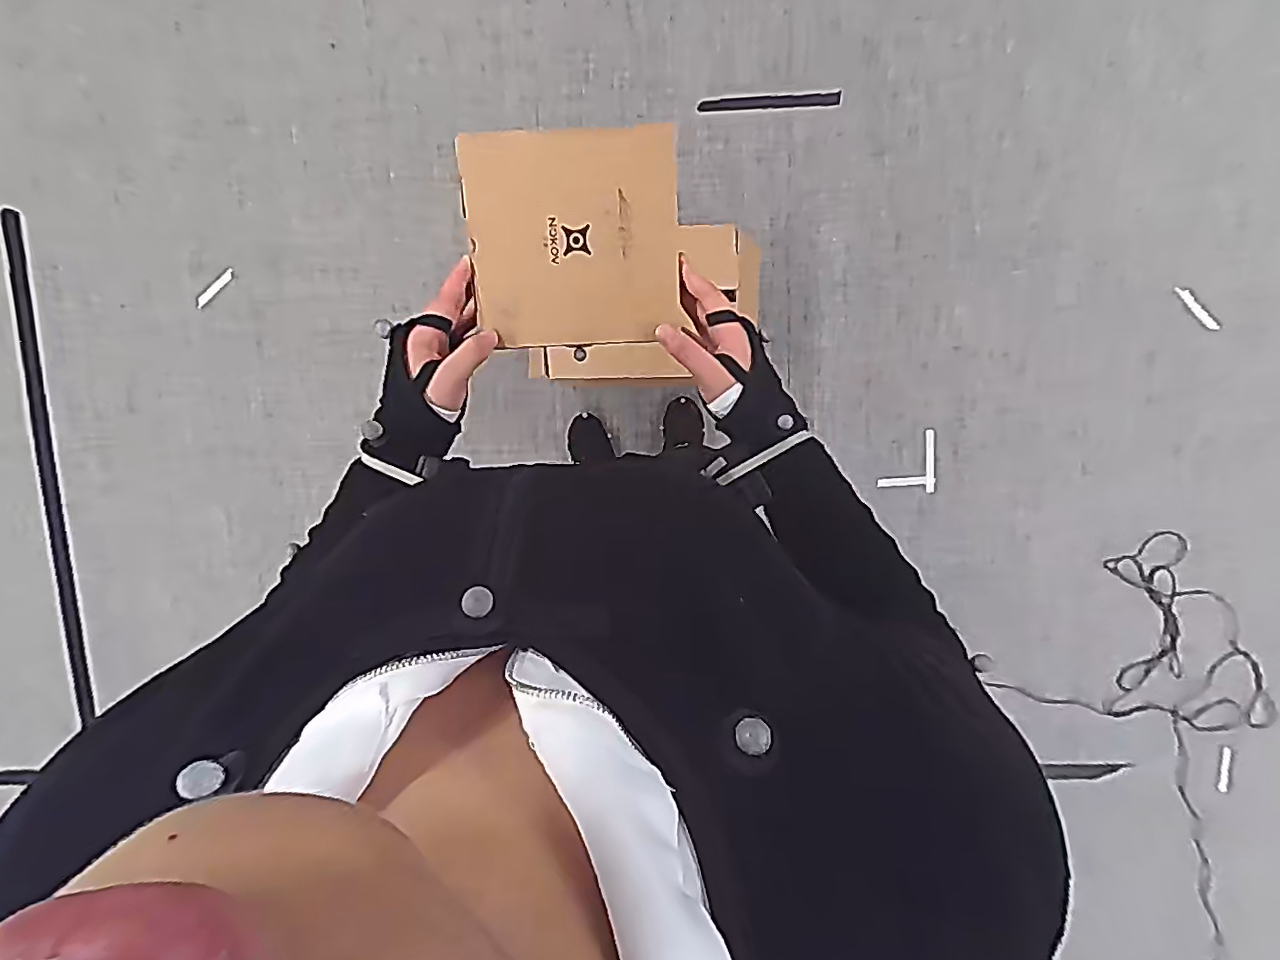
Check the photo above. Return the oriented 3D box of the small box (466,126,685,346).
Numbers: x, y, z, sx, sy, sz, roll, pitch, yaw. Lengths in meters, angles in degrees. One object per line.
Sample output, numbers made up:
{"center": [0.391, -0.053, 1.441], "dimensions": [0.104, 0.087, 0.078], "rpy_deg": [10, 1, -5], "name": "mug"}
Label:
{"center": [-0.050, -0.219, 0.529], "dimensions": [0.179, 0.176, 0.168], "rpy_deg": [-4, 105, 0], "name": "small box"}
